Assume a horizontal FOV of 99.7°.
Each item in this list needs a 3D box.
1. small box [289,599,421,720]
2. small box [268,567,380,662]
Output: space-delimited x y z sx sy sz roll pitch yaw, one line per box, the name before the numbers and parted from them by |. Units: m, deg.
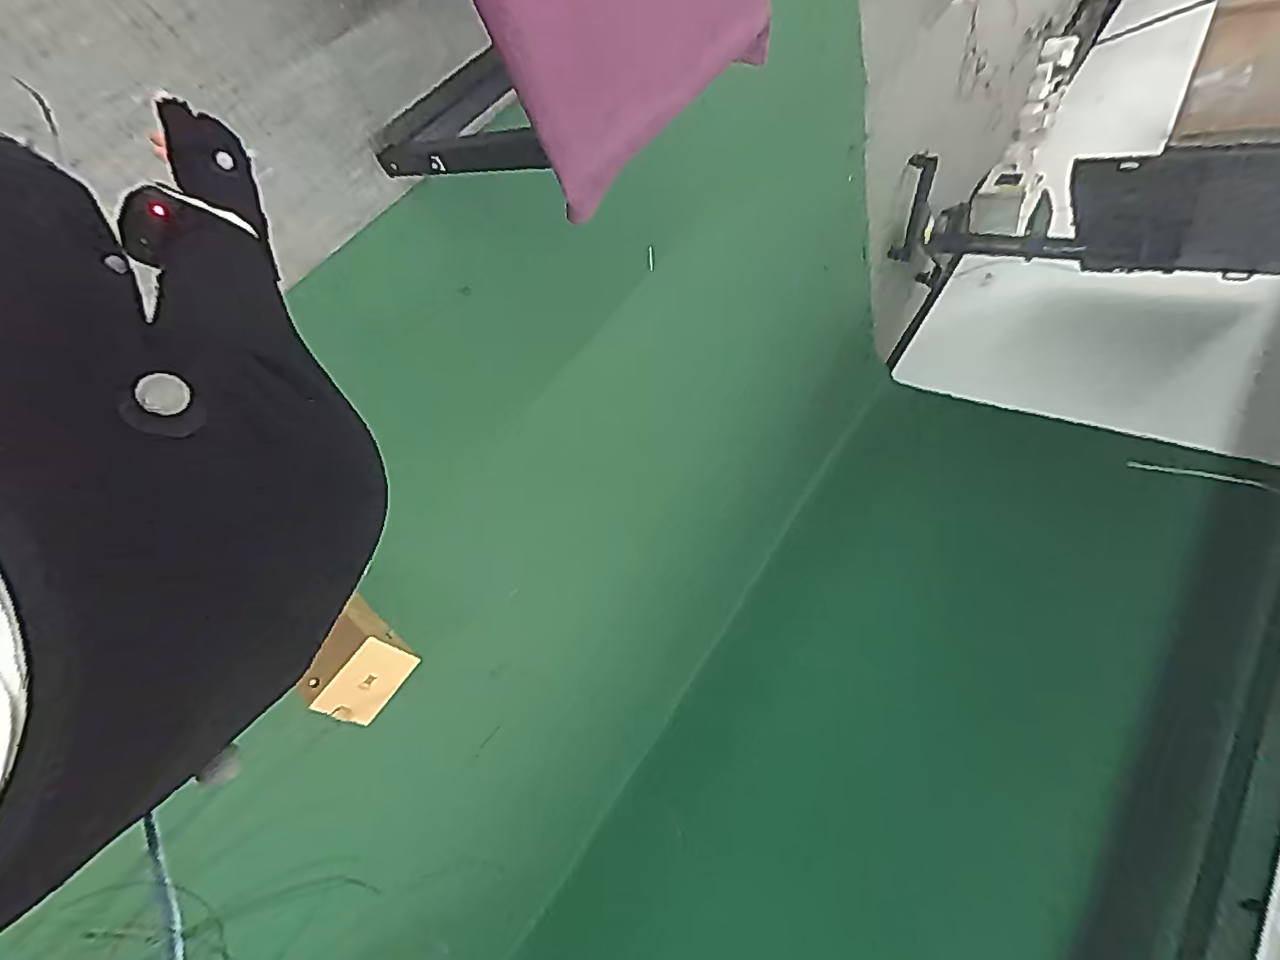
small box | -0.644 0.399 1.218 0.179 0.176 0.168 -52 141 -16
small box | -0.762 0.347 1.313 0.179 0.176 0.168 -50 142 -18
